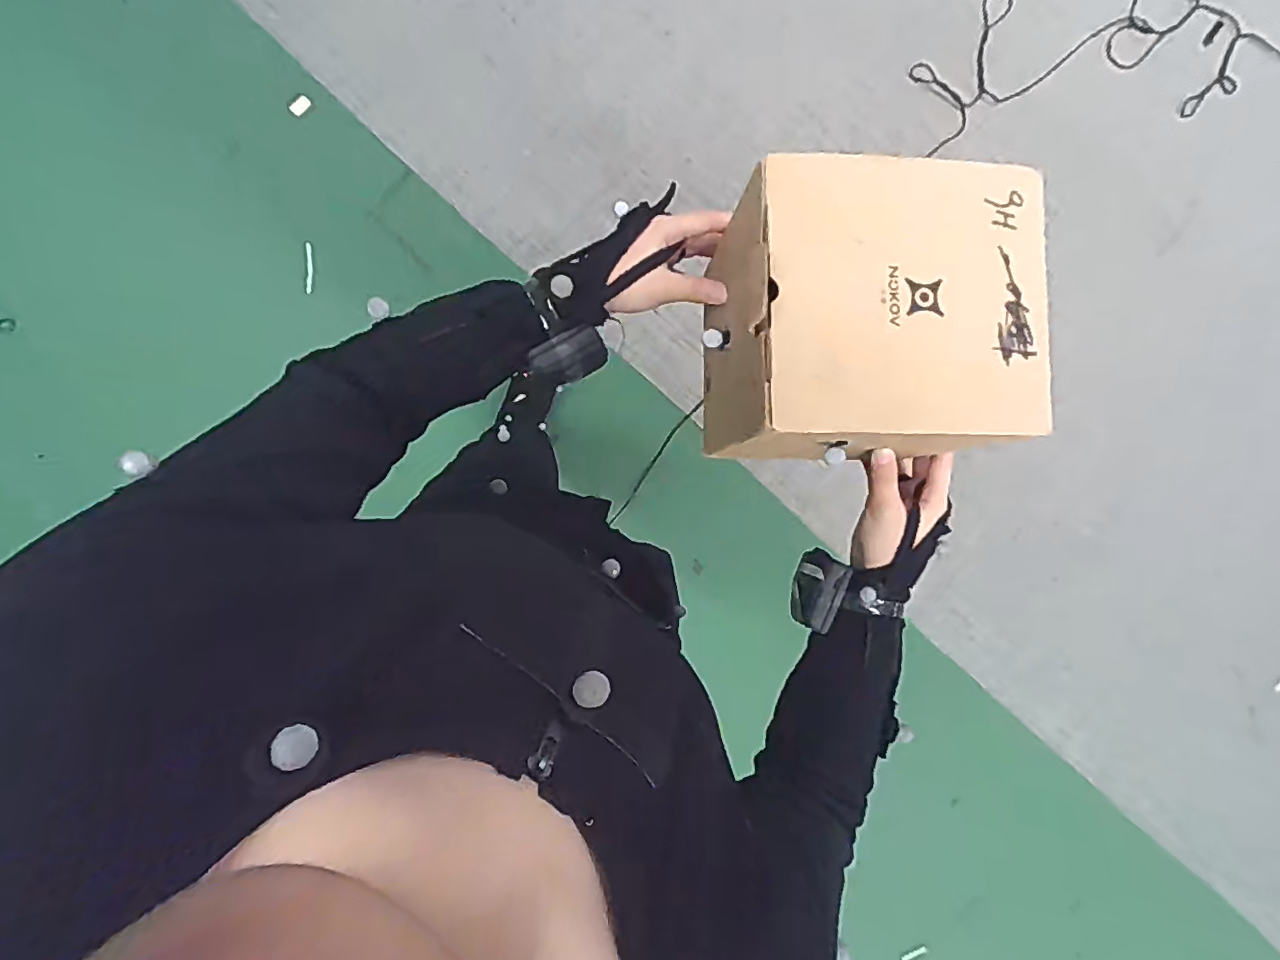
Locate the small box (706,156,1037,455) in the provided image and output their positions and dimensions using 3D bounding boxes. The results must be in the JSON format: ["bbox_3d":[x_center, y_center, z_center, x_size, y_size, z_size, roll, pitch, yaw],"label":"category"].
[{"bbox_3d":[0.147,-0.107,0.404,0.179,0.176,0.168,0,87,-4],"label":"small box"}]
